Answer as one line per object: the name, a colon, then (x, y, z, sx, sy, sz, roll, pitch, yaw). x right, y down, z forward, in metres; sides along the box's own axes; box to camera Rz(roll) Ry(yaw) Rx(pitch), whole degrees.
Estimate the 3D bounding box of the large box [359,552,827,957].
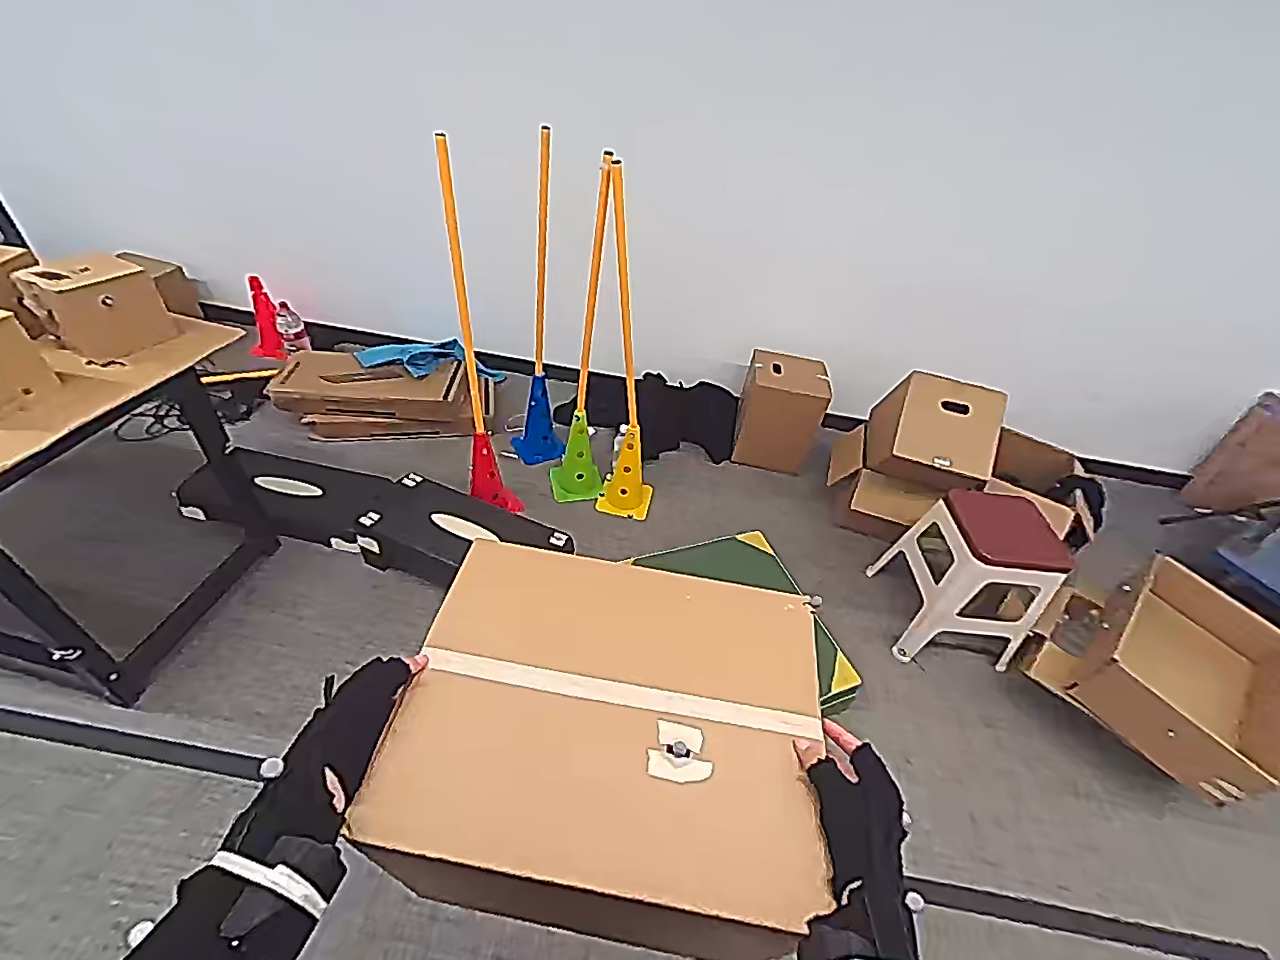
large box: (-0.037, 0.328, 0.653, 0.408, 0.320, 0.320, 10, 46, 3)
